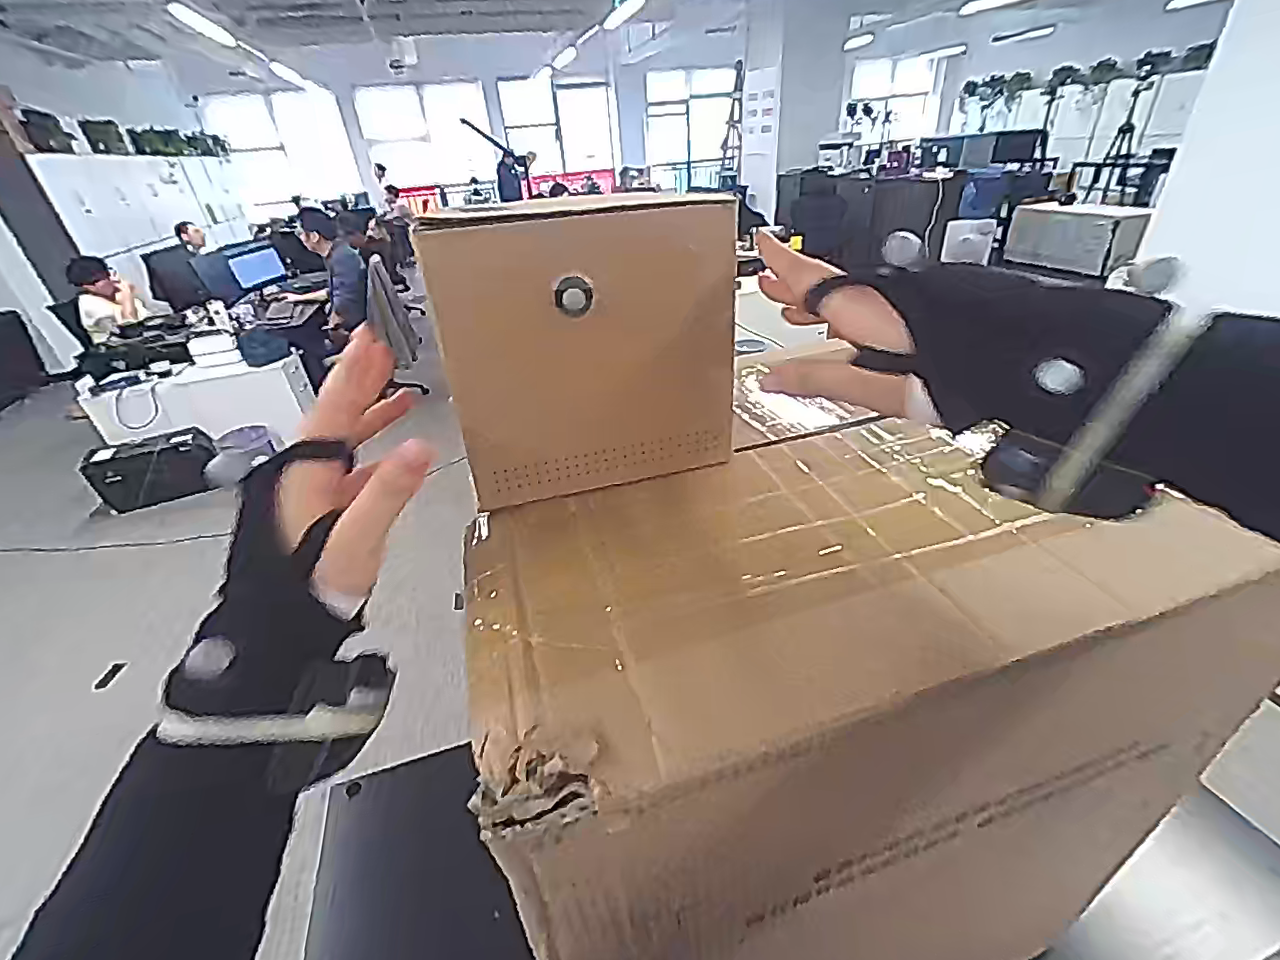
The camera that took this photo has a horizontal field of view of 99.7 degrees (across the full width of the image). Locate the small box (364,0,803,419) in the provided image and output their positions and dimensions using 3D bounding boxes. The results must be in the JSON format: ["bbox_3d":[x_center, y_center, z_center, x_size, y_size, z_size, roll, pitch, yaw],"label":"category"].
[{"bbox_3d":[-0.029,-0.145,0.308,0.179,0.176,0.168,-12,31,-13],"label":"small box"}]
